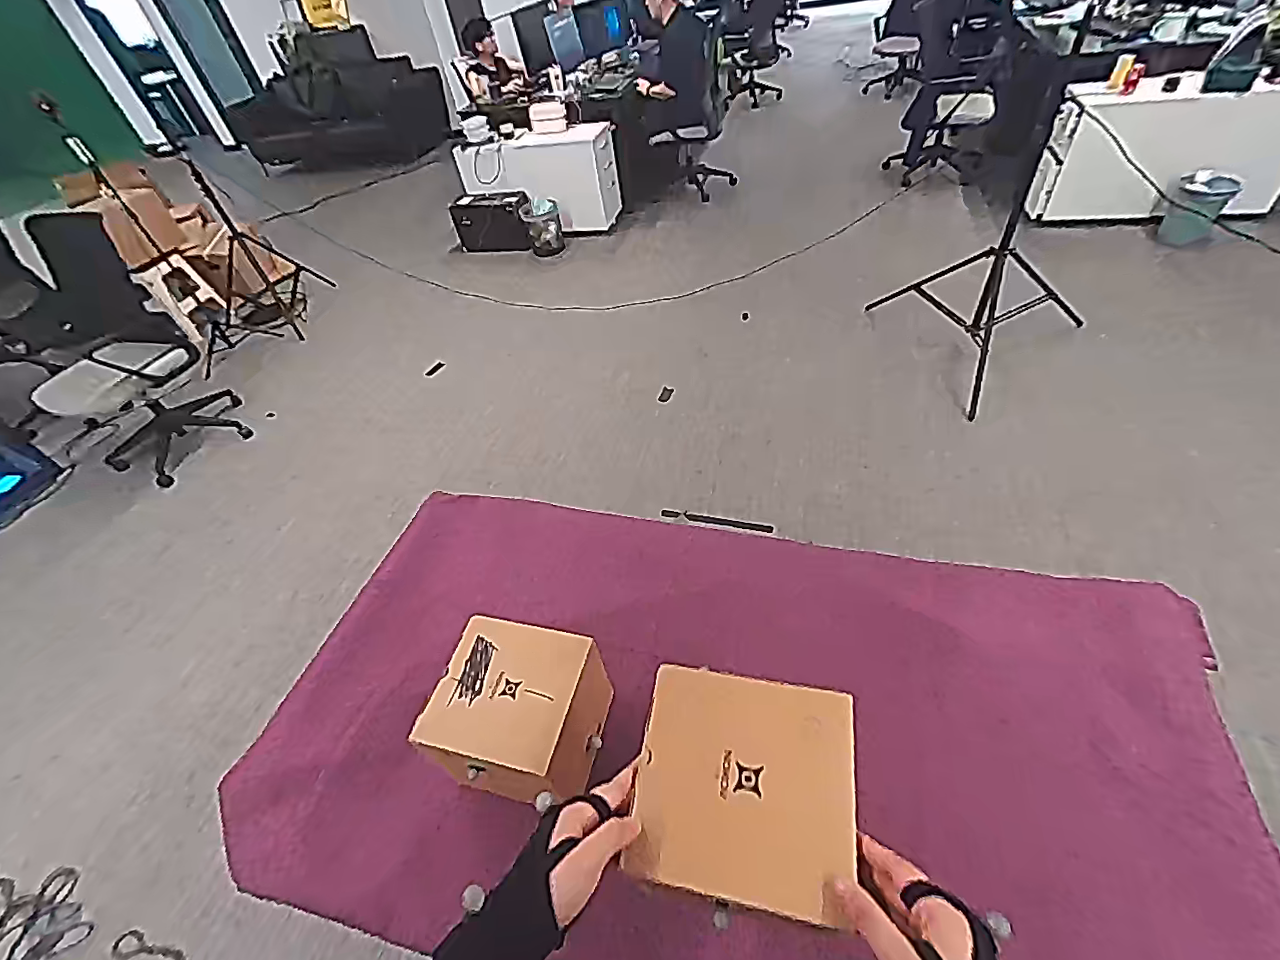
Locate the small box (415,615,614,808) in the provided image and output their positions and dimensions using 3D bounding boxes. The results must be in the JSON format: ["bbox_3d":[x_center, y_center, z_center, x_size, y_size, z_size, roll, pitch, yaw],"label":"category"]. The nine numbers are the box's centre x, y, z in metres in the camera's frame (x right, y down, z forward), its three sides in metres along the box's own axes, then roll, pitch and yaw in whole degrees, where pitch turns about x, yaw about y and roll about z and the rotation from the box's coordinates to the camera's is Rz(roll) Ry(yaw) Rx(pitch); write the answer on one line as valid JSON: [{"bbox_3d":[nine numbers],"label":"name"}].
[{"bbox_3d":[-0.147,0.303,0.706,0.179,0.176,0.168,6,48,15],"label":"small box"}]

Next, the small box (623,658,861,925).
[{"bbox_3d":[0.100,0.288,0.505,0.179,0.176,0.168,3,51,16],"label":"small box"}]
